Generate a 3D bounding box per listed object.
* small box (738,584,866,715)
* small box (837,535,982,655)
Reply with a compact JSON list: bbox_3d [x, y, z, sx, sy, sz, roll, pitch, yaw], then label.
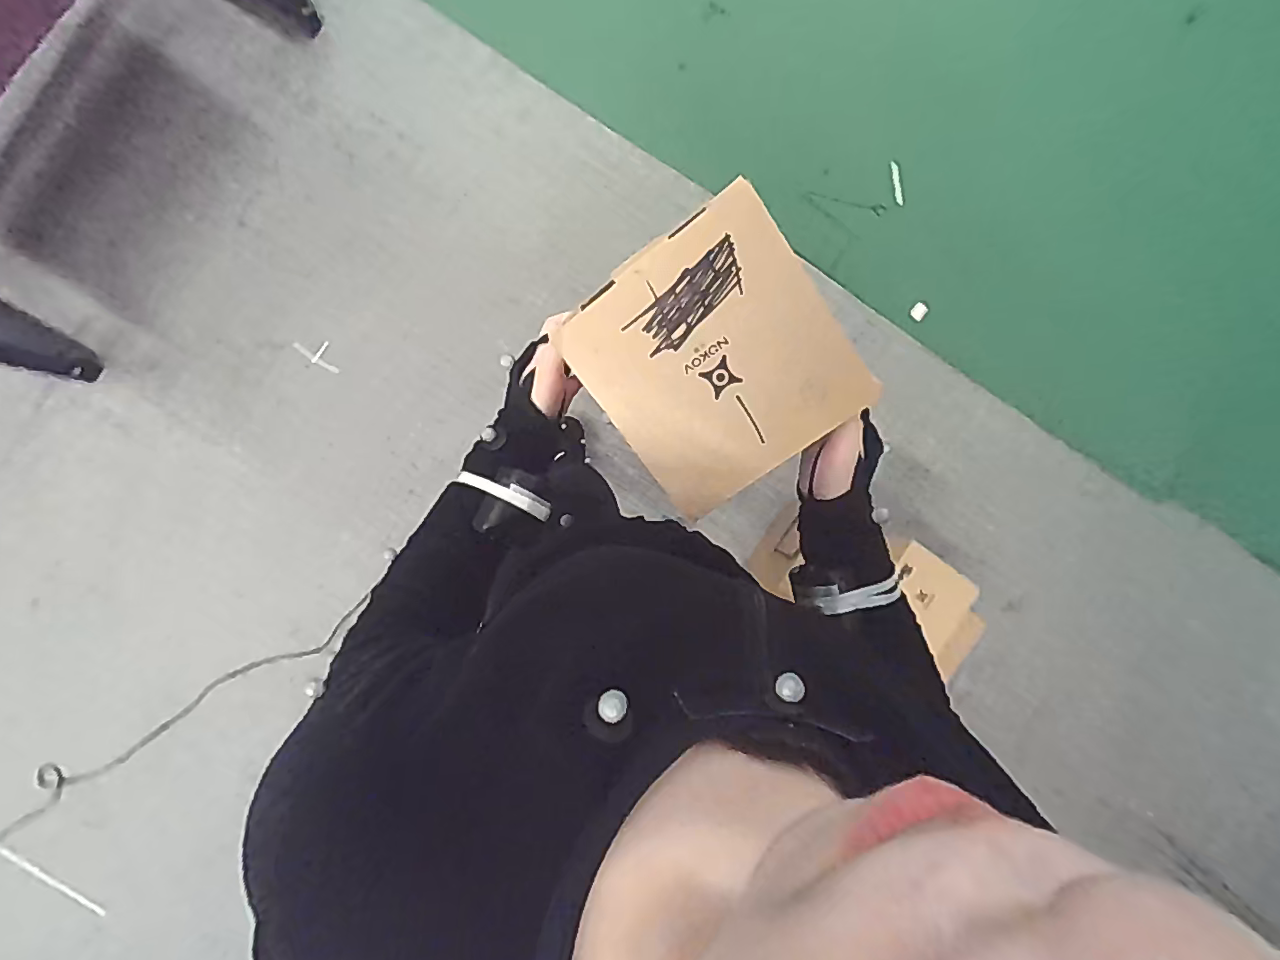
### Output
[{"bbox_3d":[0.321,0.340,1.120,0.168,0.176,0.179,34,87,-3],"label":"small box"},{"bbox_3d":[0.556,0.230,1.137,0.179,0.176,0.168,36,87,-4],"label":"small box"}]
